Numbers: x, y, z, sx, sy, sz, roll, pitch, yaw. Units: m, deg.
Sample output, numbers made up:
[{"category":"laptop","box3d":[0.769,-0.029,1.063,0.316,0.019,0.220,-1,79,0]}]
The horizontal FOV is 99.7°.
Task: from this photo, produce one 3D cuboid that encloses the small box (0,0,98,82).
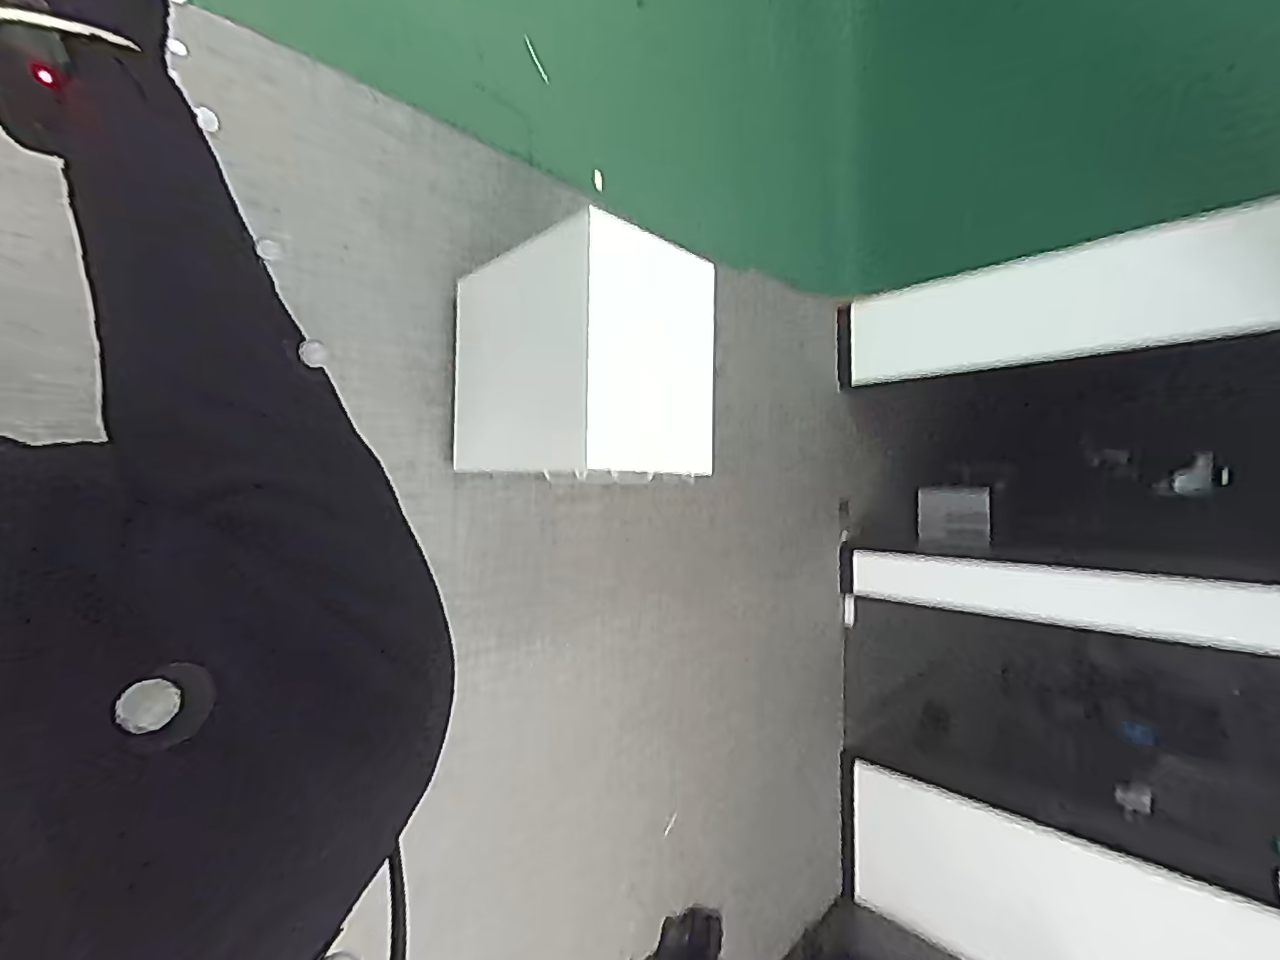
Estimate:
[{"category":"small box","box3d":[-0.494,-0.416,0.357,0.179,0.176,0.168,-16,93,-50]}]
